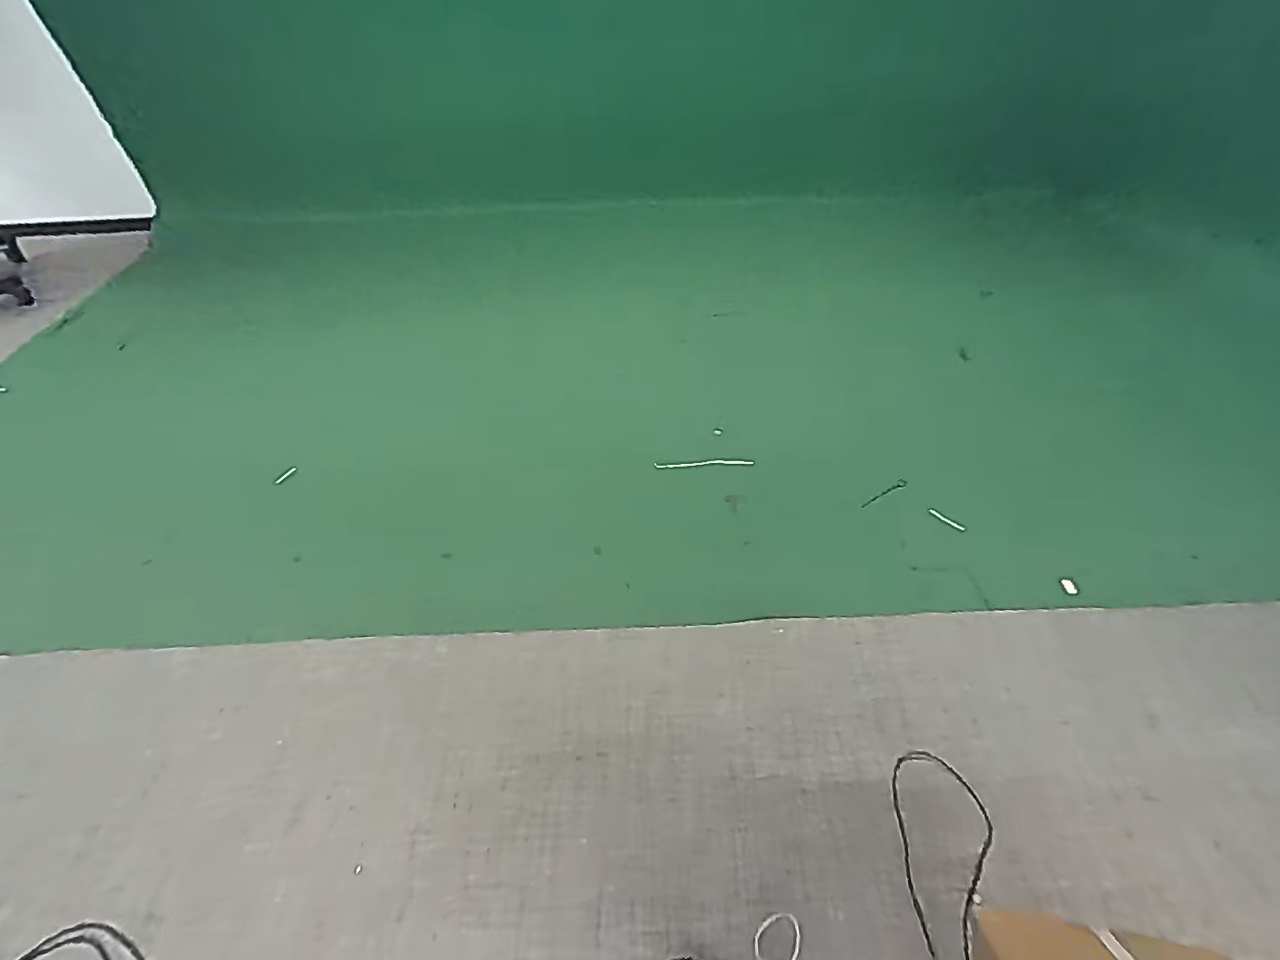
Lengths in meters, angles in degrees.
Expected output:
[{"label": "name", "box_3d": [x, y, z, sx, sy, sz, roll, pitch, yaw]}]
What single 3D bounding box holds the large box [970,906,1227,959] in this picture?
[{"label": "large box", "box_3d": [0.577, 0.754, 0.549, 0.320, 0.408, 0.320, 3, 84, 14]}]
